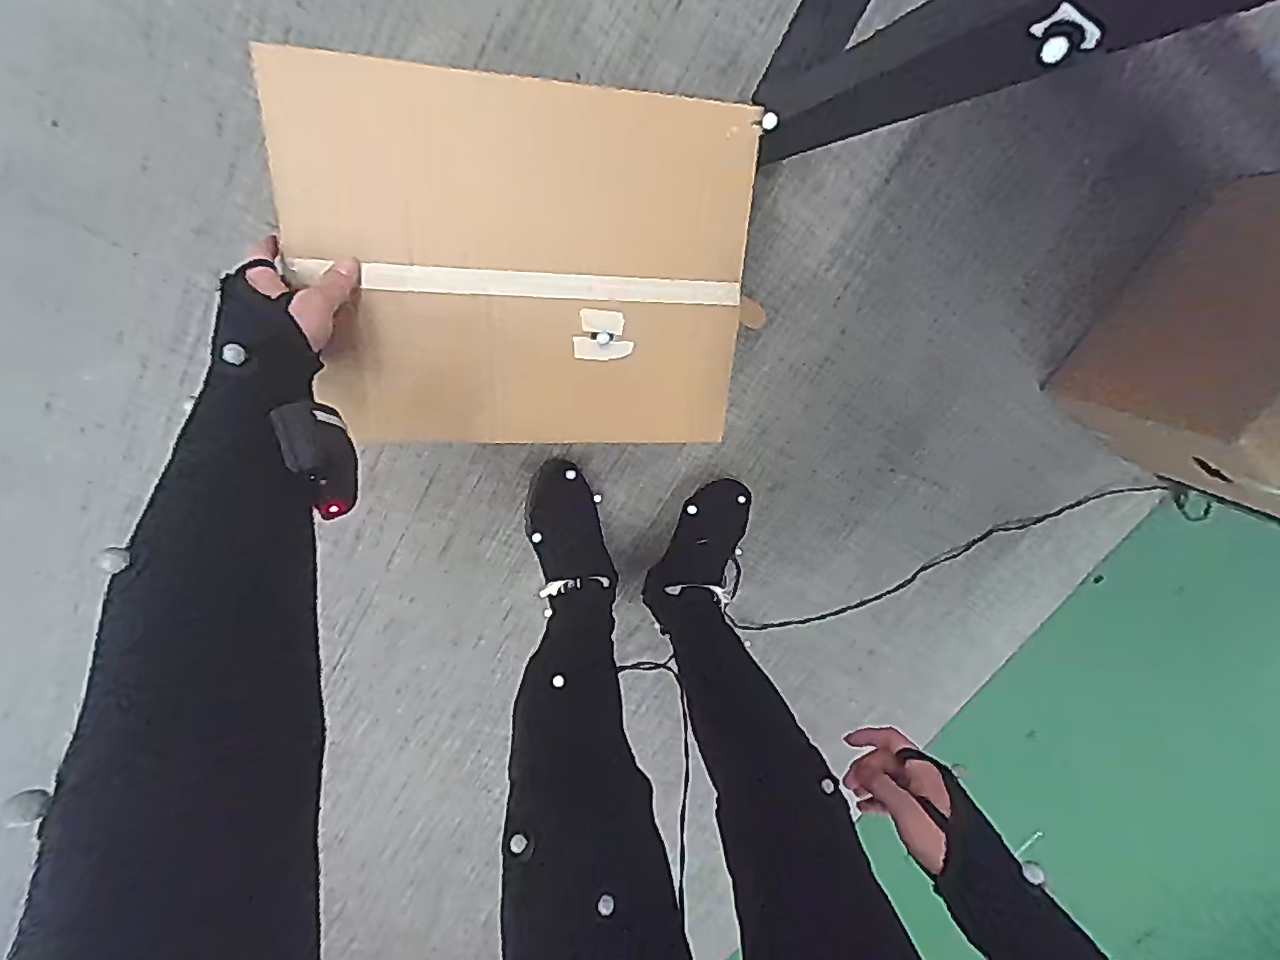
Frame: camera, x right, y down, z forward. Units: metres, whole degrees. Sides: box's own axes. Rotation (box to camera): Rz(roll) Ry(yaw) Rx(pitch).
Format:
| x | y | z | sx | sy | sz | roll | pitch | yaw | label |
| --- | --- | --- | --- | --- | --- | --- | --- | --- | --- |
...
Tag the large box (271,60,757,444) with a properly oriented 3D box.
| x | y | z | sx | sy | sz | roll | pitch | yaw | label |
| --- | --- | --- | --- | --- | --- | --- | --- | --- | --- |
| -0.123 | -0.240 | 0.638 | 0.408 | 0.320 | 0.320 | -2 | 114 | -11 | large box |
